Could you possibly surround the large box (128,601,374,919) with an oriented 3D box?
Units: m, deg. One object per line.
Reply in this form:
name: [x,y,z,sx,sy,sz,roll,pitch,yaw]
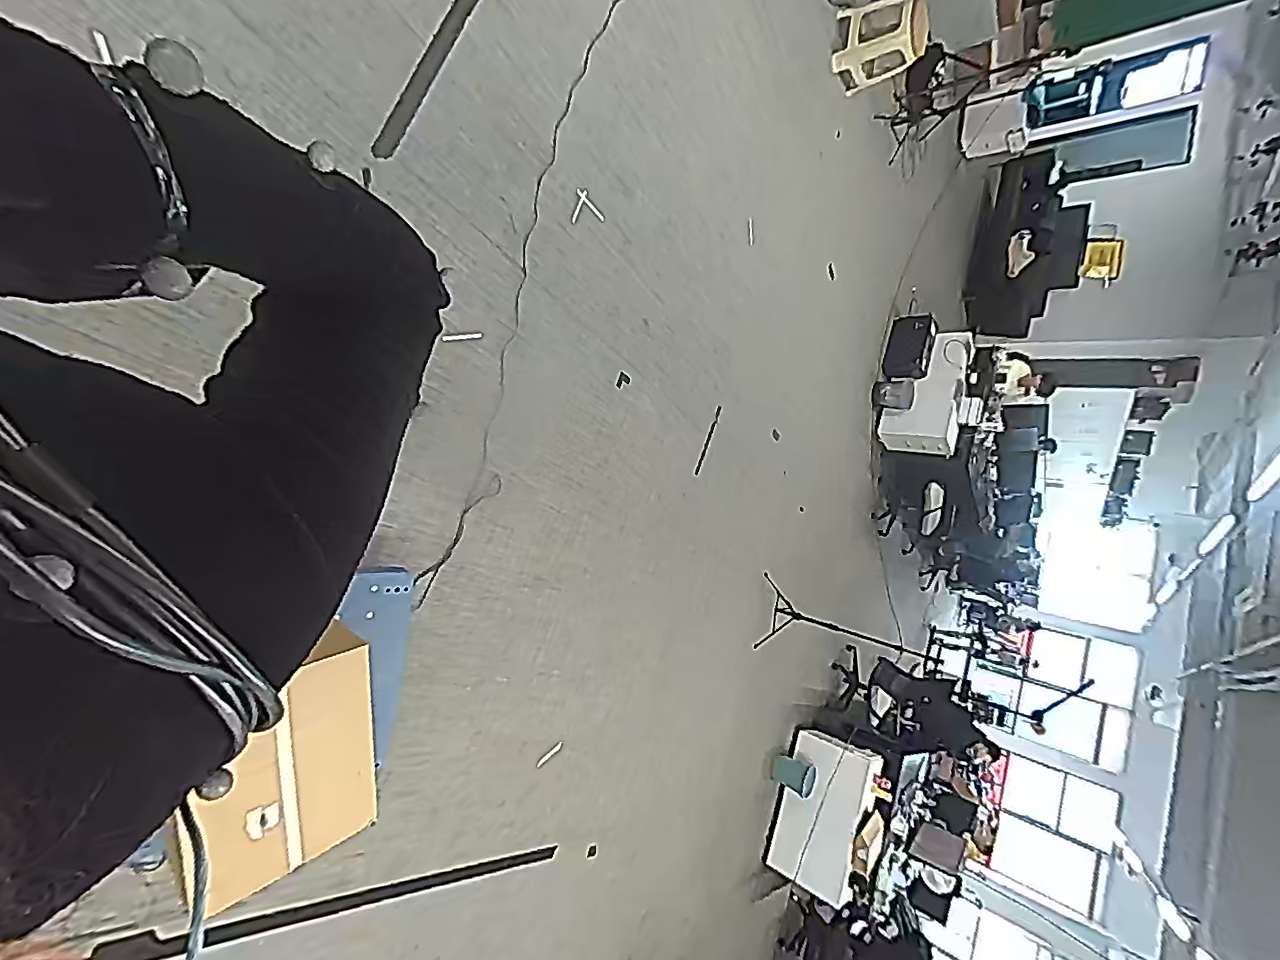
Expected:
large box: [-0.765,0.507,1.078,0.320,0.320,0.408,-9,105,-48]
